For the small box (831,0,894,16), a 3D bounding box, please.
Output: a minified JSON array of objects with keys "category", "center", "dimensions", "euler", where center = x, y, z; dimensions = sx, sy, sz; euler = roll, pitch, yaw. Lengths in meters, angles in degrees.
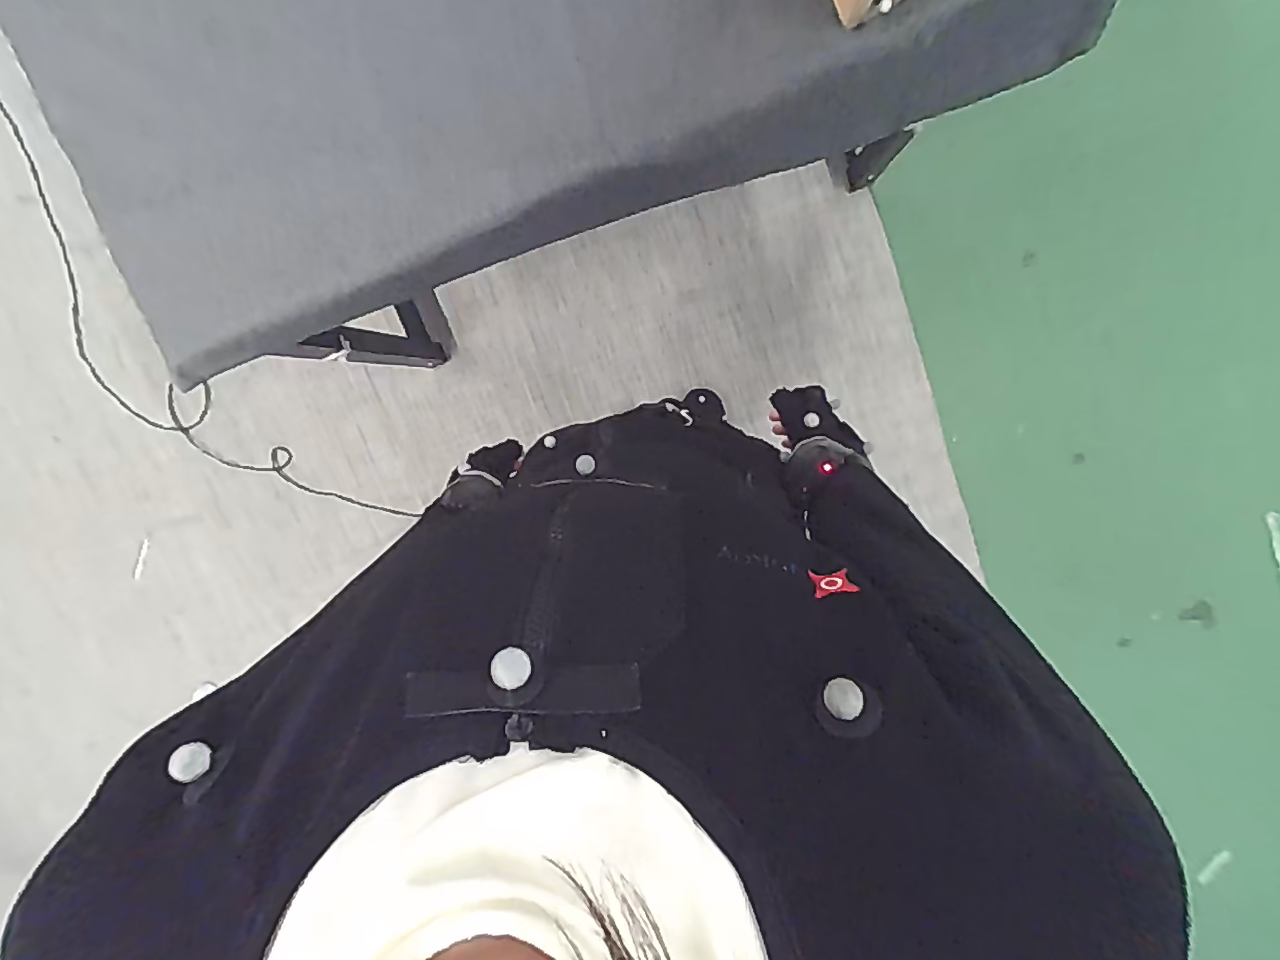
[{"category":"small box","center":[0.254,-0.588,0.498],"dimensions":[0.168,0.176,0.179],"euler":[-24,95,8]}]
